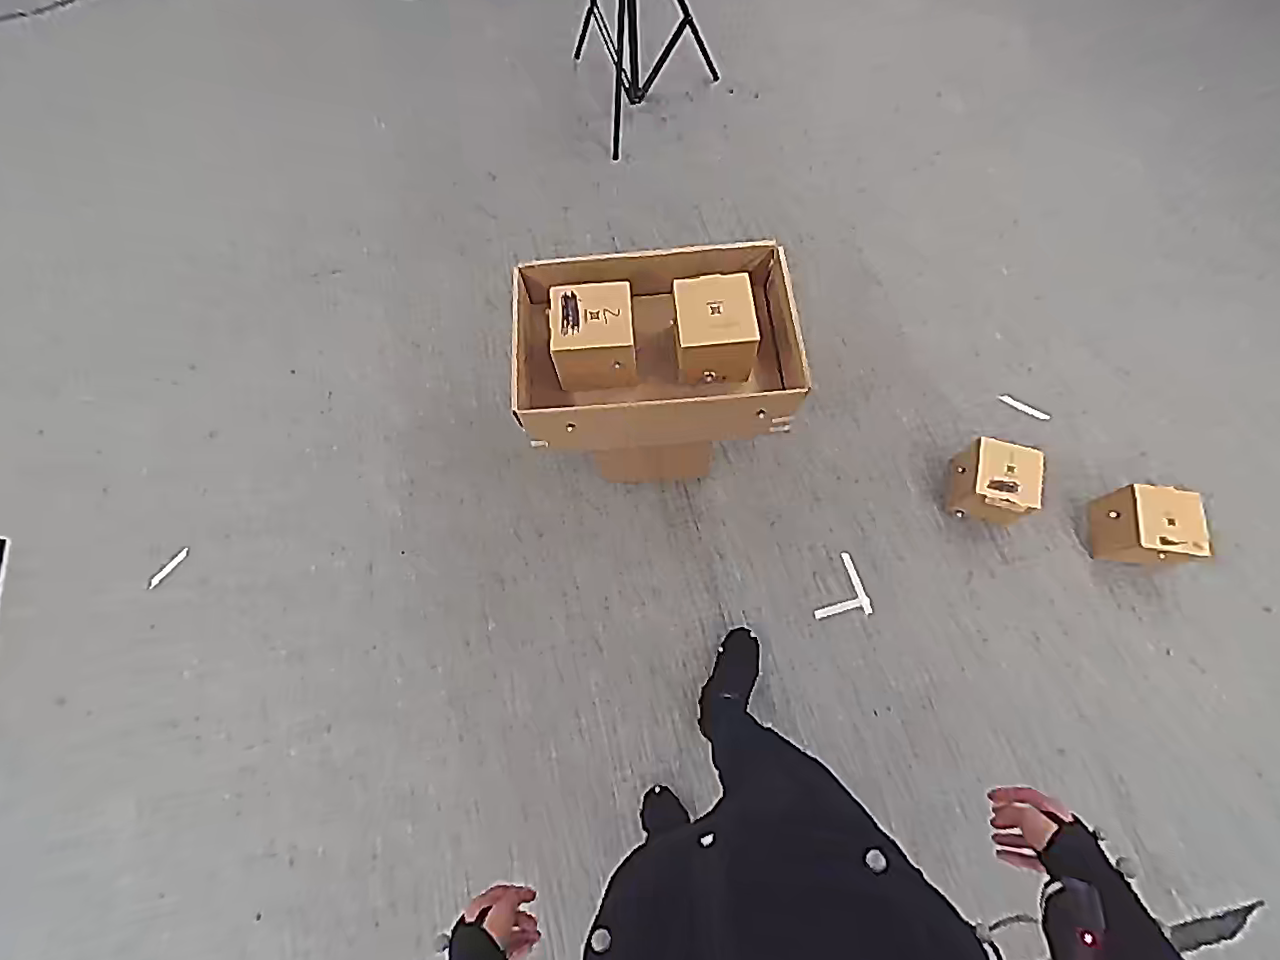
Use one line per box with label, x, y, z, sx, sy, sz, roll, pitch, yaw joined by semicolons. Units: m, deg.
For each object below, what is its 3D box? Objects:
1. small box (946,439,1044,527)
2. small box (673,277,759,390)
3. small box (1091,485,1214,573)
small box;0.980;0.016;1.503;0.168;0.176;0.179;16;71;8
small box;0.163;-0.326;1.216;0.168;0.176;0.179;-5;68;2
small box;1.352;0.135;1.443;0.168;0.176;0.179;9;69;6
